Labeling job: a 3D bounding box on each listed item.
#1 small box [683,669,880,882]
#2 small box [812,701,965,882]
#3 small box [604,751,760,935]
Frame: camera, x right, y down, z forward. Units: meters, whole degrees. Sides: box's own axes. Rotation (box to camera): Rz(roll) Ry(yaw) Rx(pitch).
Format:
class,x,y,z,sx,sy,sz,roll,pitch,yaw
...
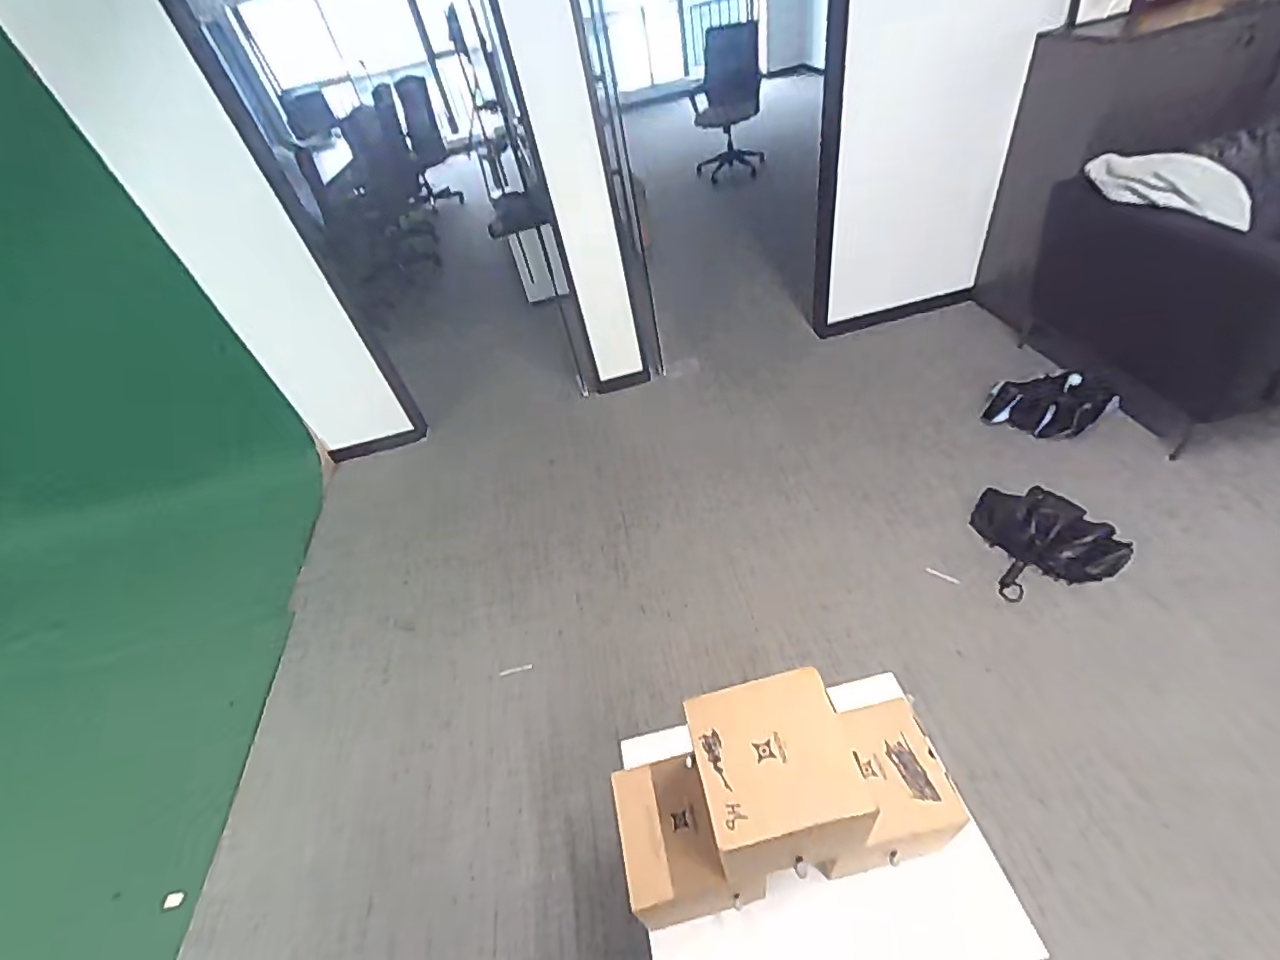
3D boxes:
class,x,y,z,sx,sy,sz,roll,pitch,yaw
small box,0.158,0.360,0.659,0.179,0.176,0.168,-12,43,-2
small box,0.315,0.447,0.775,0.179,0.176,0.168,-13,43,-1
small box,0.057,0.507,0.763,0.179,0.176,0.168,-14,42,-4
